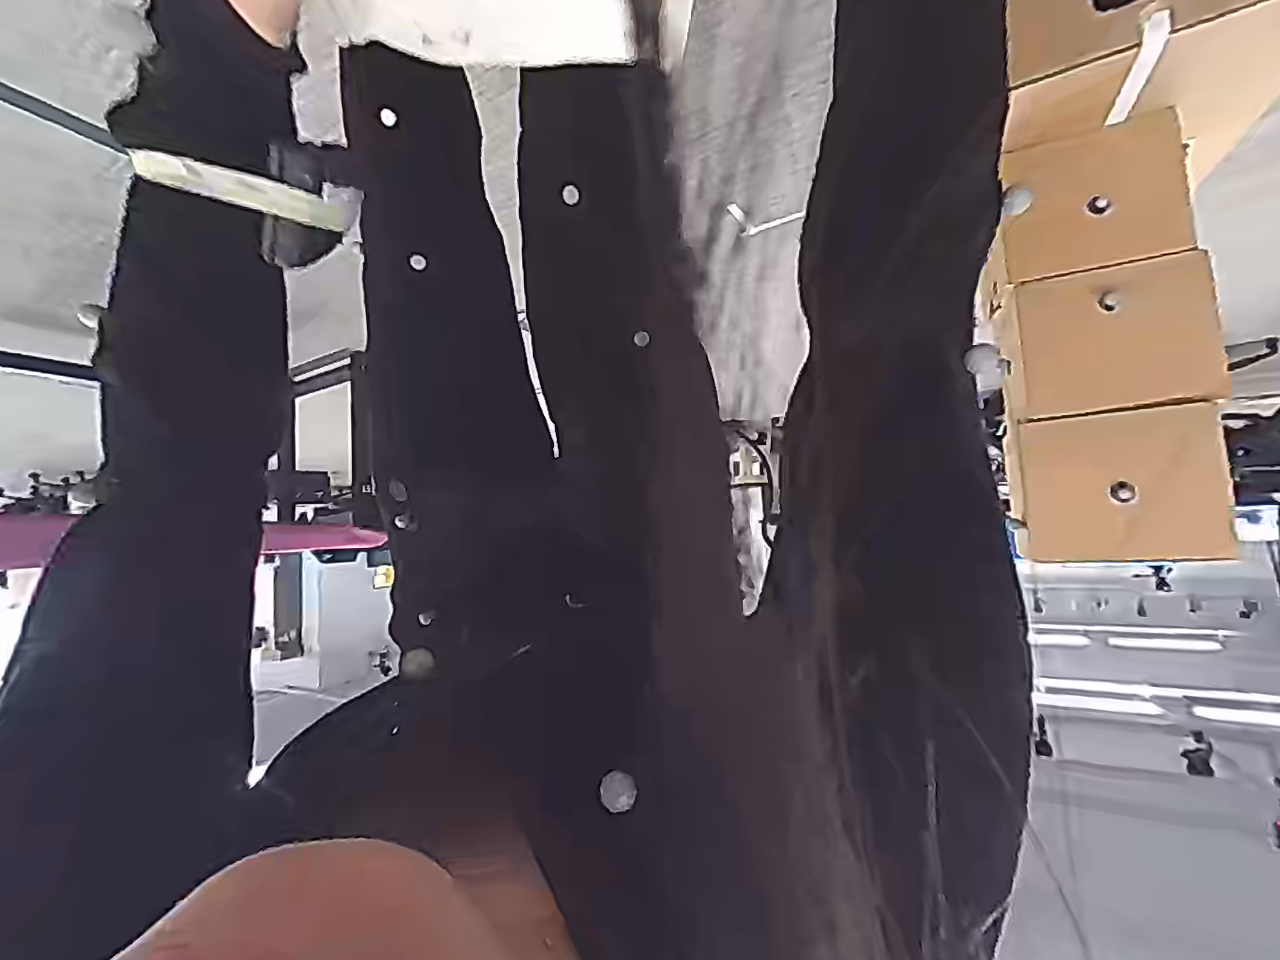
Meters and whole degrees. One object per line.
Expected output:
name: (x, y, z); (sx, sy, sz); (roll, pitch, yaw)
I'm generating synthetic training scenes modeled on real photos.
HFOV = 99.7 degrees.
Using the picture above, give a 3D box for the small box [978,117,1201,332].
small box: (0.551, -0.313, 0.694); (0.179, 0.176, 0.168); (-6, 174, 24)

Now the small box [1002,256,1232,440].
small box: (0.570, -0.151, 0.675); (0.179, 0.176, 0.168); (-5, 175, 27)
